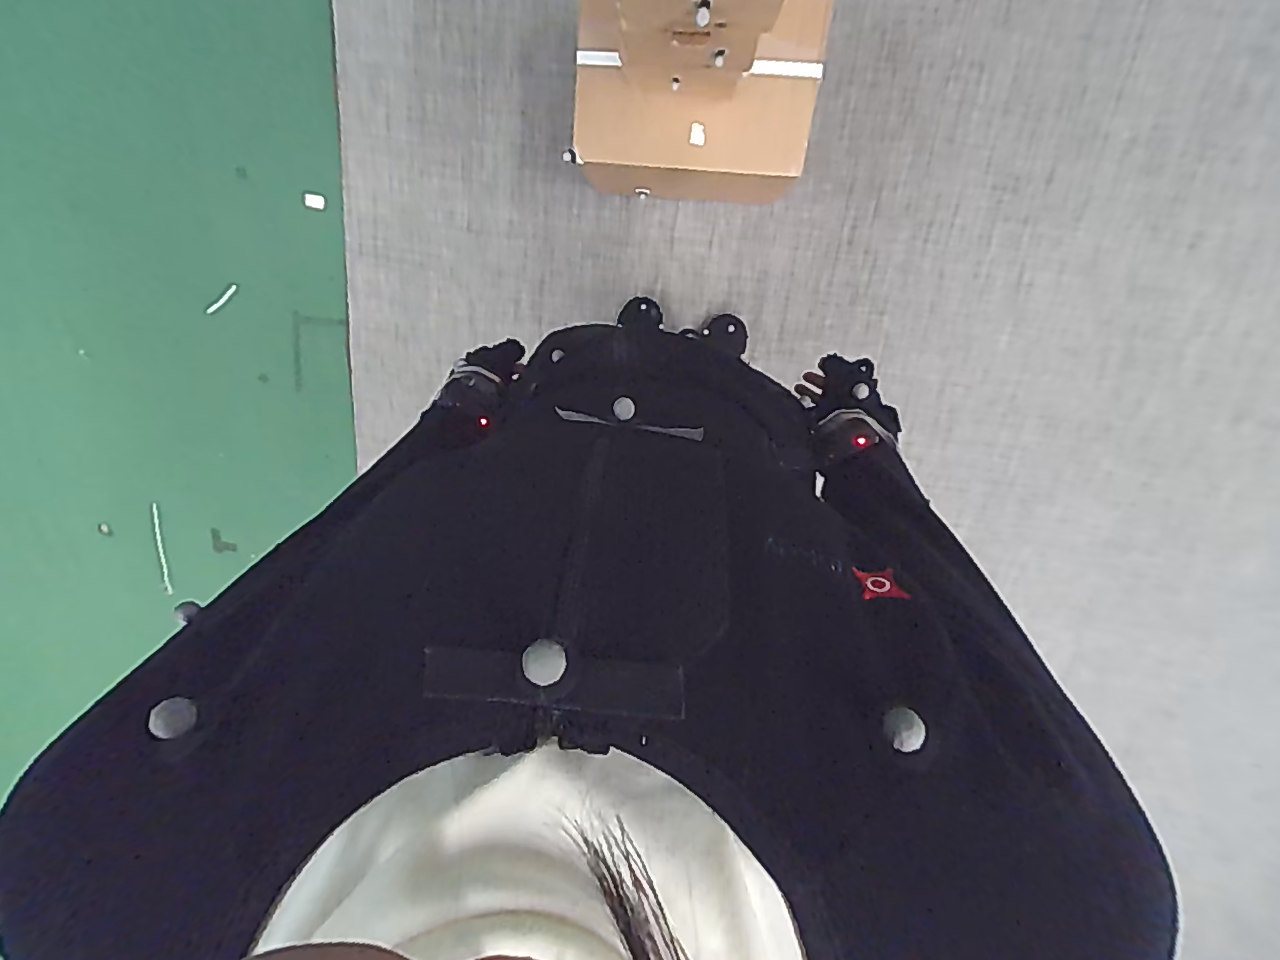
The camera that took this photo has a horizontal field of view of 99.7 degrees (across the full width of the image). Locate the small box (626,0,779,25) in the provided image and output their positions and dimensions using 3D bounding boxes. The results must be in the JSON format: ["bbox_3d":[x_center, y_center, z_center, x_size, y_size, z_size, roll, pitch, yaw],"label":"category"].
[{"bbox_3d":[0.064,-0.558,0.507,0.168,0.176,0.179,4,116,4],"label":"small box"}]

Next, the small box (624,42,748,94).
[{"bbox_3d":[0.077,-0.693,0.804,0.179,0.176,0.168,6,116,3],"label":"small box"}]

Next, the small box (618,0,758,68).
[{"bbox_3d":[0.067,-0.627,0.656,0.168,0.176,0.179,4,114,4],"label":"small box"}]
